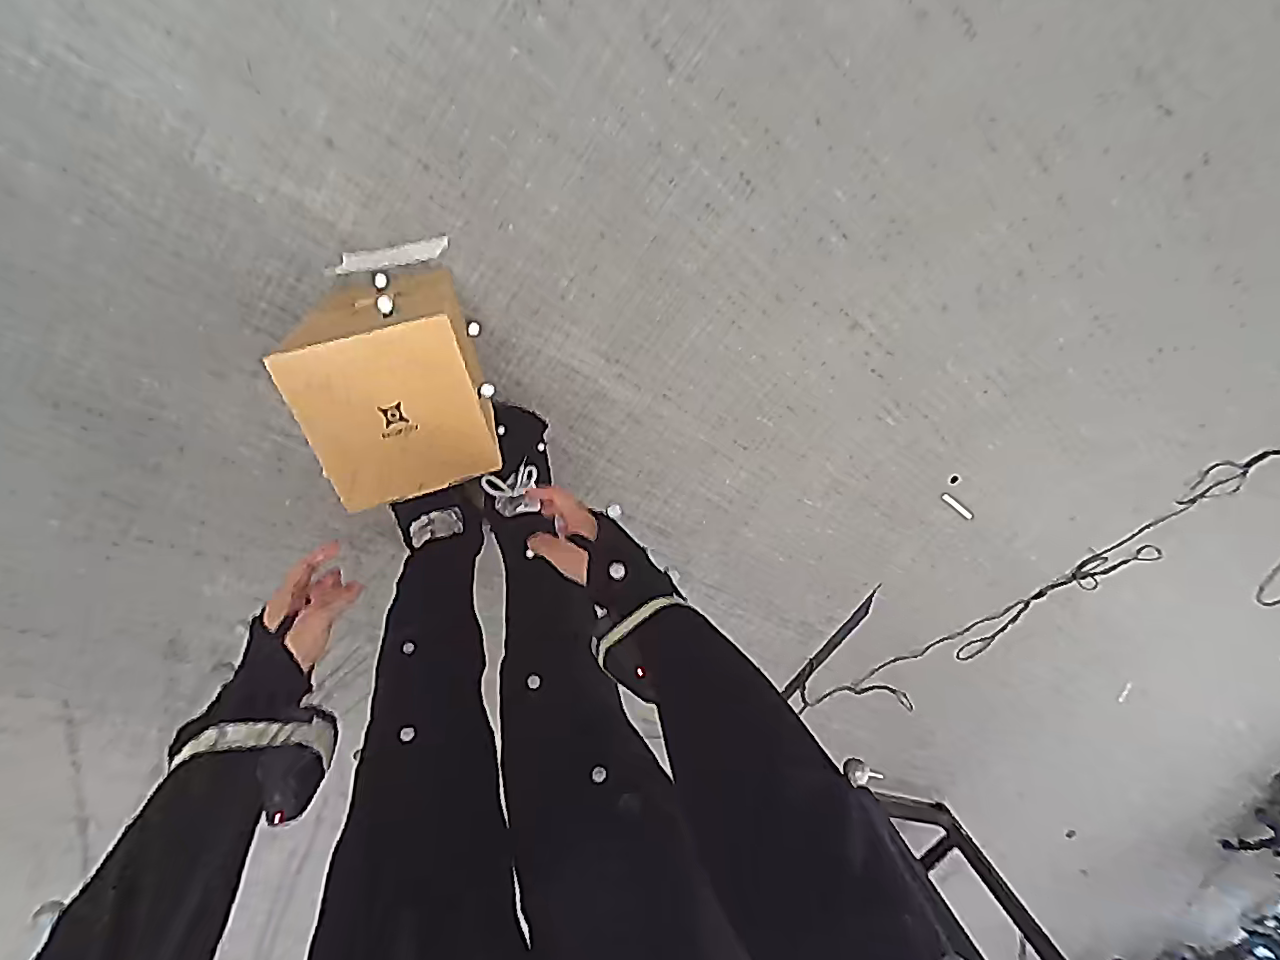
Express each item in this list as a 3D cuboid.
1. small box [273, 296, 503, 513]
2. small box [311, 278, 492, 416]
[{"bbox_3d":[-0.266,-0.097,0.608,0.168,0.176,0.179,-18,123,-10],"label":"small box"},{"bbox_3d":[-0.315,-0.171,0.745,0.168,0.176,0.179,-18,121,-10],"label":"small box"}]
